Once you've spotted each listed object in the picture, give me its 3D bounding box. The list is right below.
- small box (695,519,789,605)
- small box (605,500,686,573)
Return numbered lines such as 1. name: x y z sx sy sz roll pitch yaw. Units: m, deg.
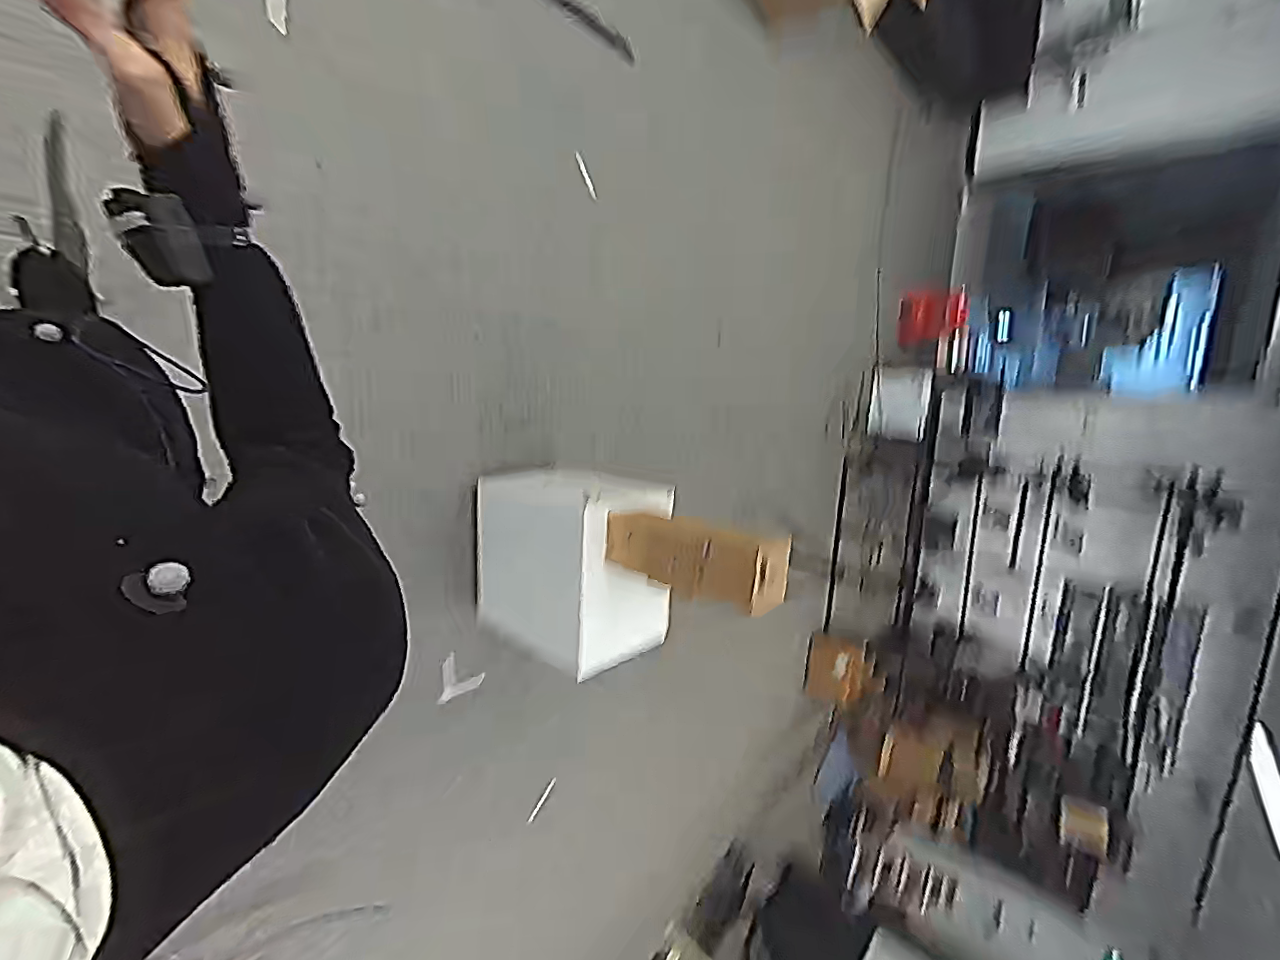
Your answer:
1. small box: 0.255 0.200 1.369 0.179 0.176 0.168 -5 101 -49
2. small box: 0.013 0.160 1.589 0.179 0.176 0.168 -9 105 -48
